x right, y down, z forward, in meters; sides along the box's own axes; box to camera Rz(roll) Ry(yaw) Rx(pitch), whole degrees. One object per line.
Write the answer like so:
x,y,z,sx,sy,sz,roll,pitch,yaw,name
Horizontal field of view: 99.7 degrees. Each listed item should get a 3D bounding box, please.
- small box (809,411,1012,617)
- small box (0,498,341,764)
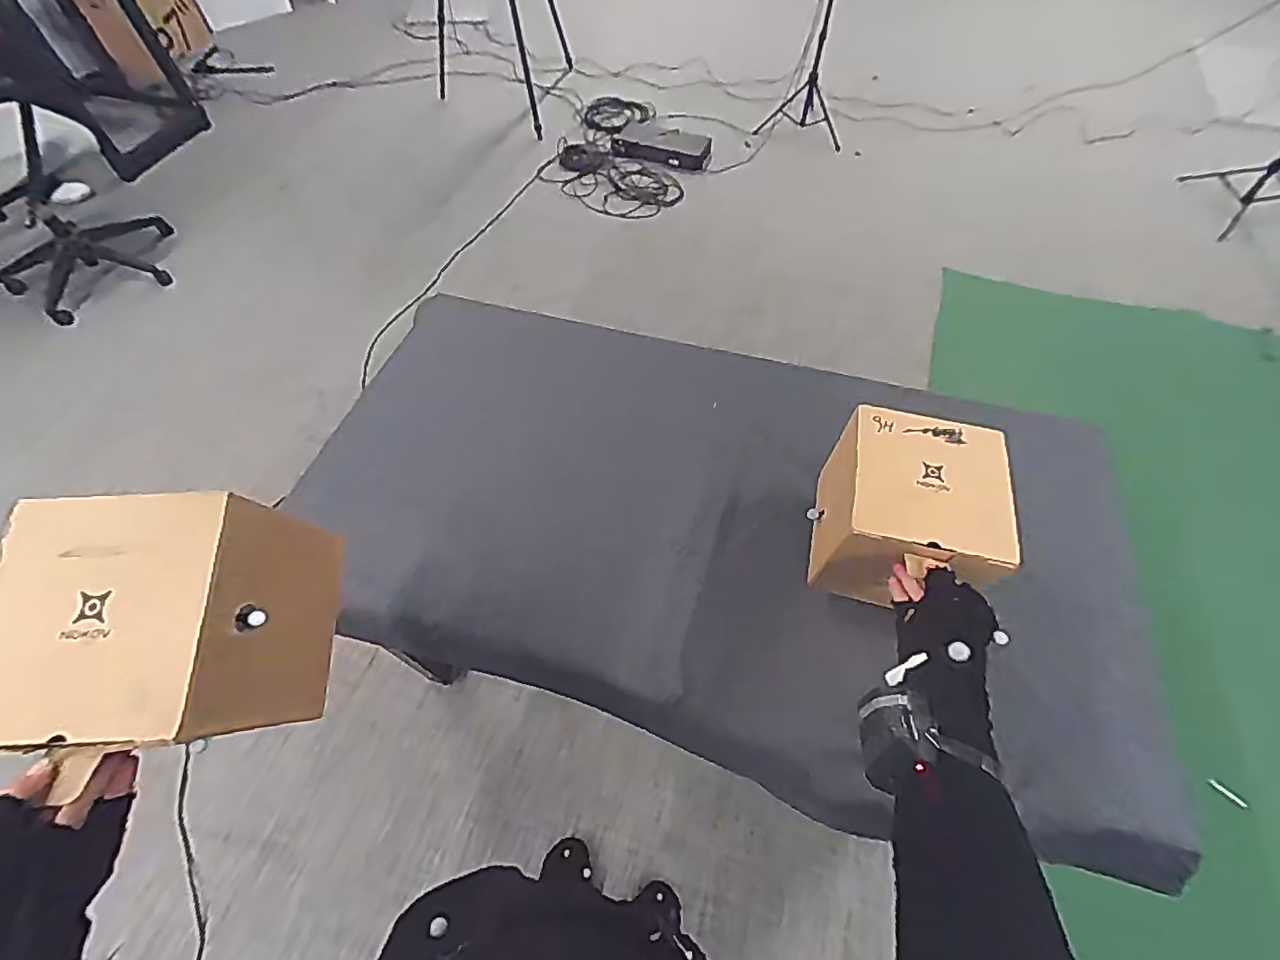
0.313,0.048,0.657,0.168,0.176,0.179,13,59,7,small box
-0.379,0.124,0.452,0.168,0.176,0.179,-3,70,0,small box
